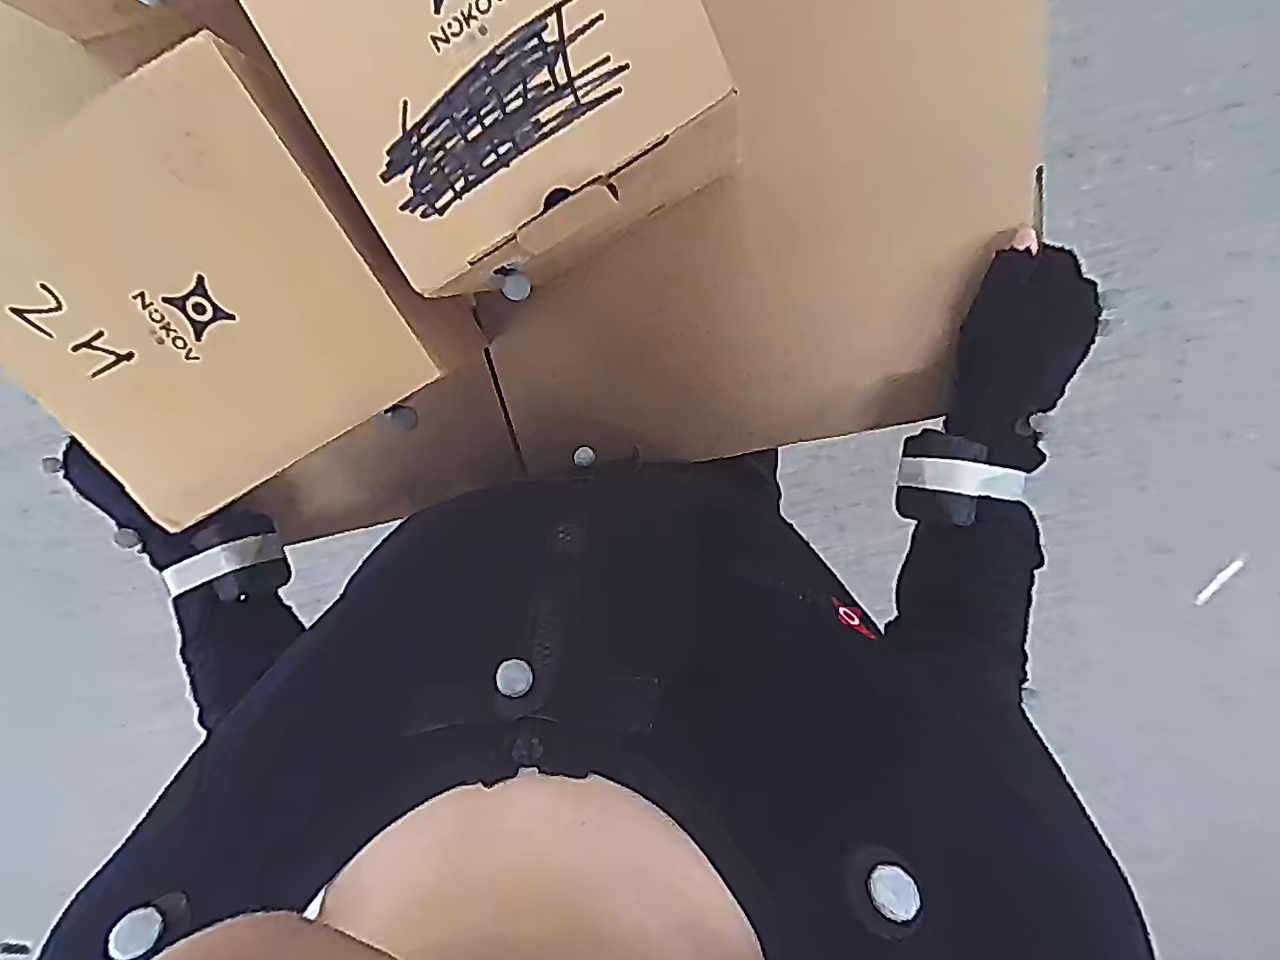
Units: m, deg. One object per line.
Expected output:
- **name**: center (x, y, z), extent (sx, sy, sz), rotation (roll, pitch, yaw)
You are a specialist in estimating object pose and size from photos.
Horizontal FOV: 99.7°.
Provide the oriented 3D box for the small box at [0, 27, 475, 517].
- **small box**: center (-0.220, -0.112, 0.332), extent (0.179, 0.176, 0.168), rotation (-29, 110, 4)
